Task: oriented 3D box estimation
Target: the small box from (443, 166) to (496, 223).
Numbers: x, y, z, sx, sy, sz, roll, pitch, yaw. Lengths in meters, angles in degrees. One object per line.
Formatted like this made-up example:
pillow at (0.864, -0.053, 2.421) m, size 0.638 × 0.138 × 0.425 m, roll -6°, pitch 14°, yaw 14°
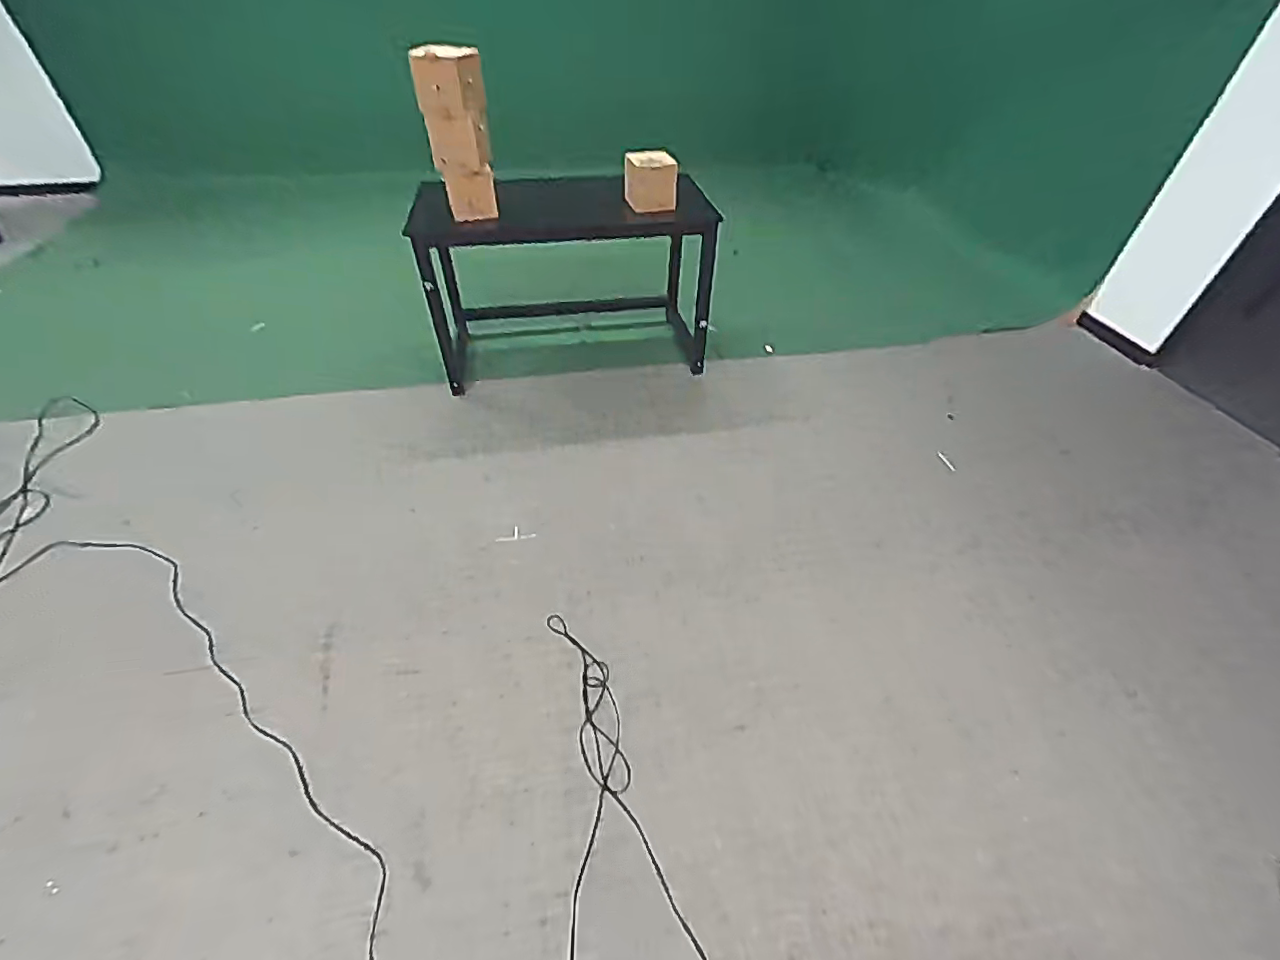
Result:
small box at (-0.653, -1.100, 2.065) m, size 0.168 × 0.176 × 0.179 m, roll -12°, pitch 47°, yaw -14°

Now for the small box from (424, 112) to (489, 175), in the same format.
small box at (-0.654, -1.217, 1.950) m, size 0.168 × 0.176 × 0.179 m, roll 3°, pitch 44°, yaw 1°

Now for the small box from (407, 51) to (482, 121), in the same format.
small box at (-0.654, -1.339, 1.839) m, size 0.168 × 0.176 × 0.179 m, roll 11°, pitch 46°, yaw 8°
